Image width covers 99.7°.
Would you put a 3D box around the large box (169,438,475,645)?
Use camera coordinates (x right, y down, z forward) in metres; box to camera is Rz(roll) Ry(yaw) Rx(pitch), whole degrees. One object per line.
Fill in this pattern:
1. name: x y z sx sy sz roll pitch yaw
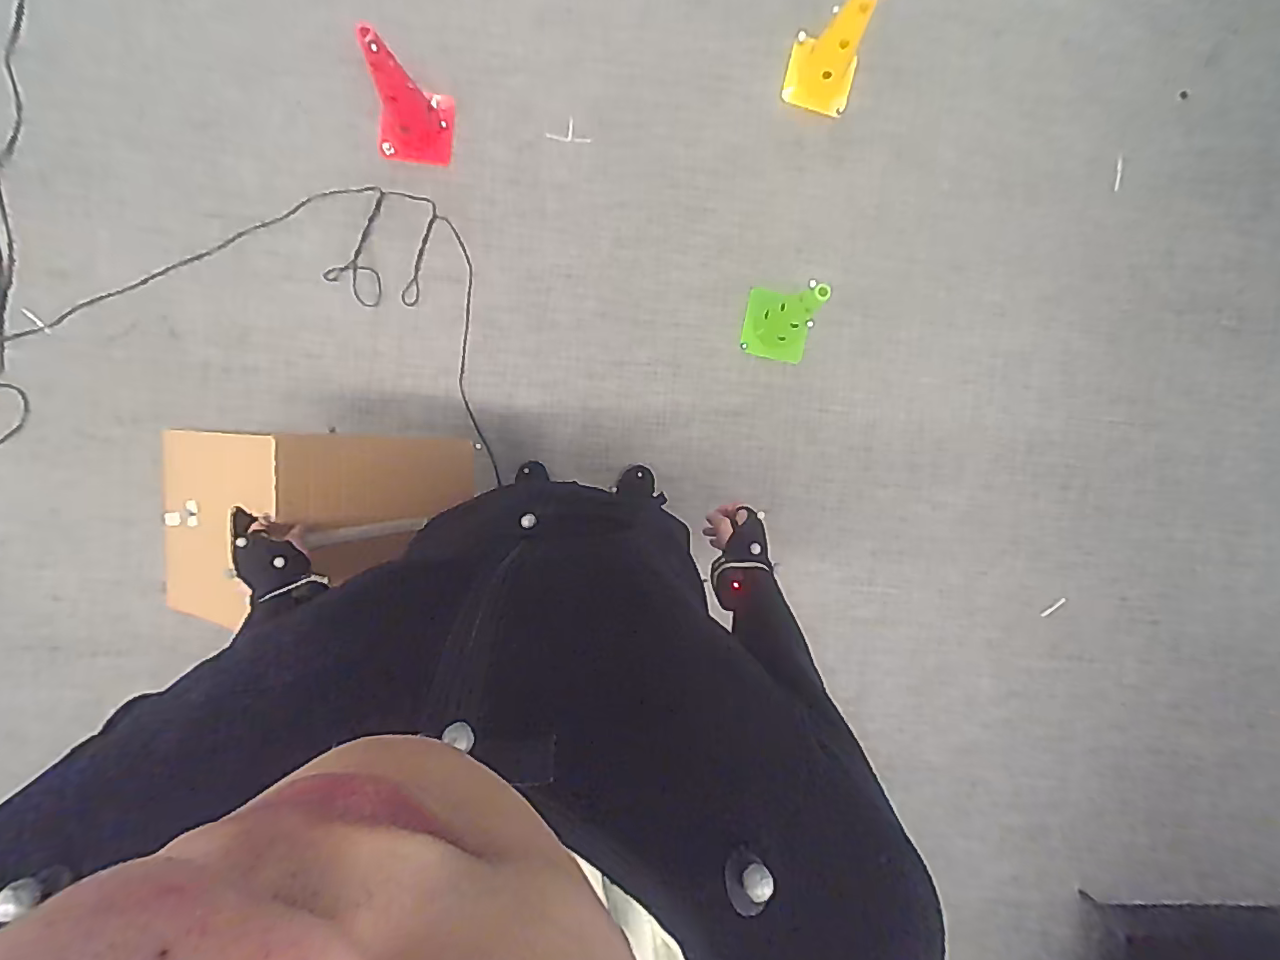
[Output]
1. large box: -0.574 0.075 1.031 0.320 0.408 0.320 5 95 25

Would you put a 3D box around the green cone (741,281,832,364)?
1. green cone: 0.434 -0.462 1.487 0.200 0.368 0.202 10 91 -6
